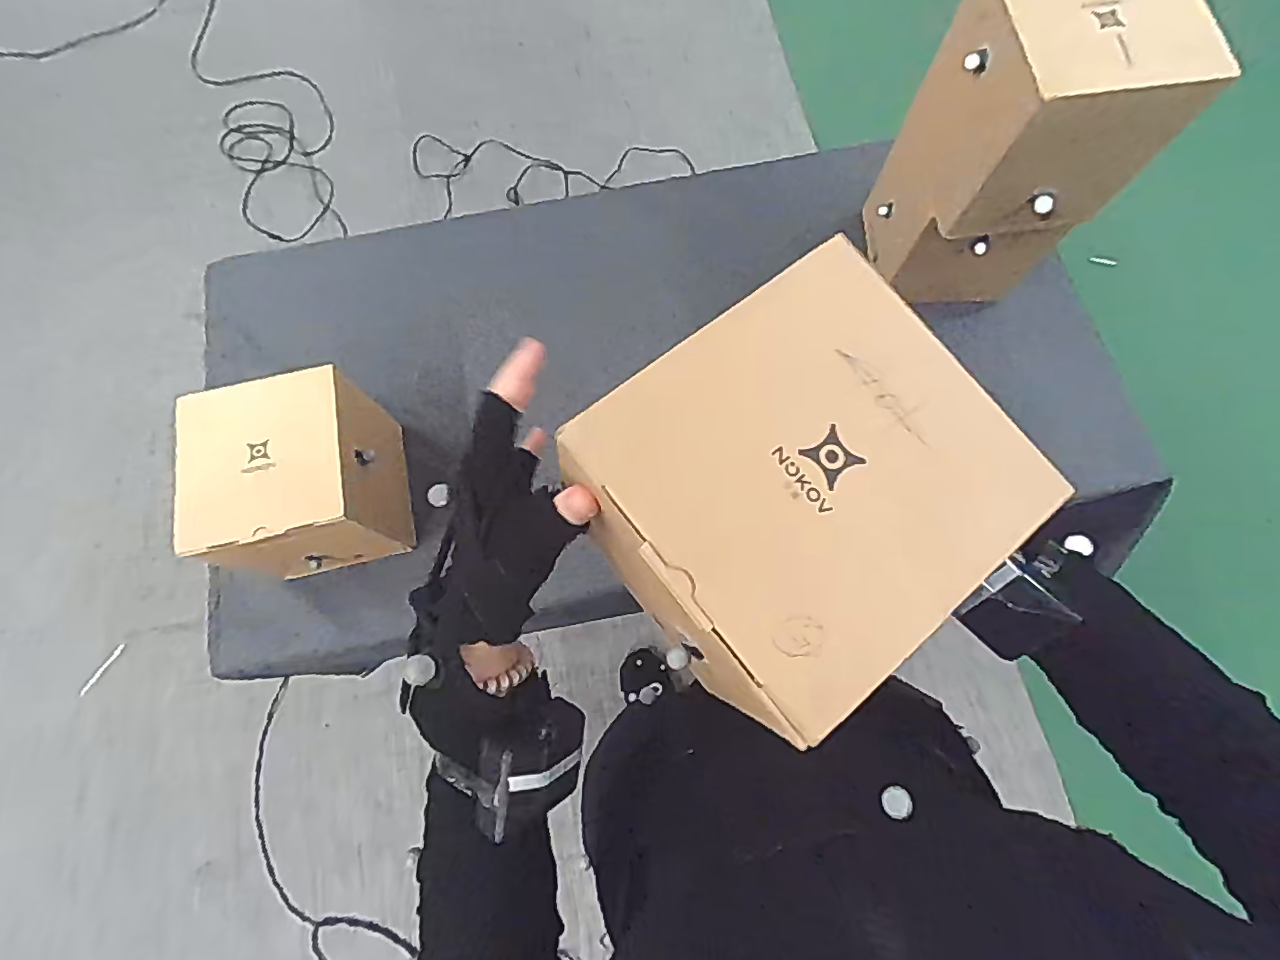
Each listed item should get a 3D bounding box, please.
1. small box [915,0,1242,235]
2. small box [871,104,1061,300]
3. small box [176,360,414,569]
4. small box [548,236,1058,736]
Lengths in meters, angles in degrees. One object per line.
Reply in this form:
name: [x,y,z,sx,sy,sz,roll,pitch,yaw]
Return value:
small box: [0.405,-0.380,0.541,0.168,0.176,0.179,-6,75,1]
small box: [0.416,-0.352,0.704,0.179,0.176,0.168,0,74,2]
small box: [-0.381,-0.008,0.622,0.168,0.176,0.179,-13,74,-3]
small box: [0.069,0.010,0.316,0.179,0.176,0.168,-38,83,-14]
